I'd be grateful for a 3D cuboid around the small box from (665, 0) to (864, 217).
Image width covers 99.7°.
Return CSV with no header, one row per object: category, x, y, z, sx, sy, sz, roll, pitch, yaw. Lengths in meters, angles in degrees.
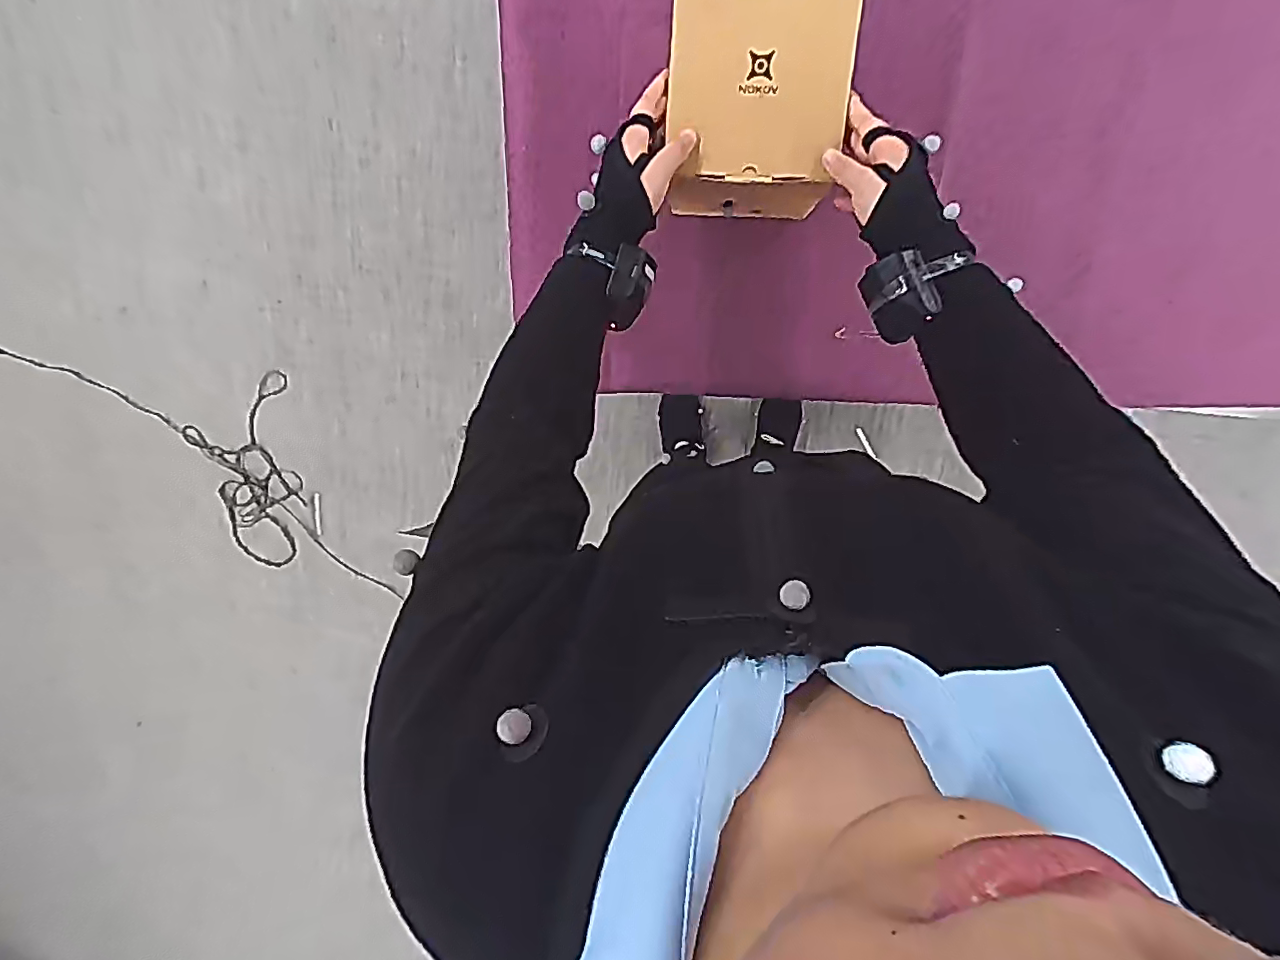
small box,0.116,-0.388,0.562,0.168,0.176,0.179,5,107,5
